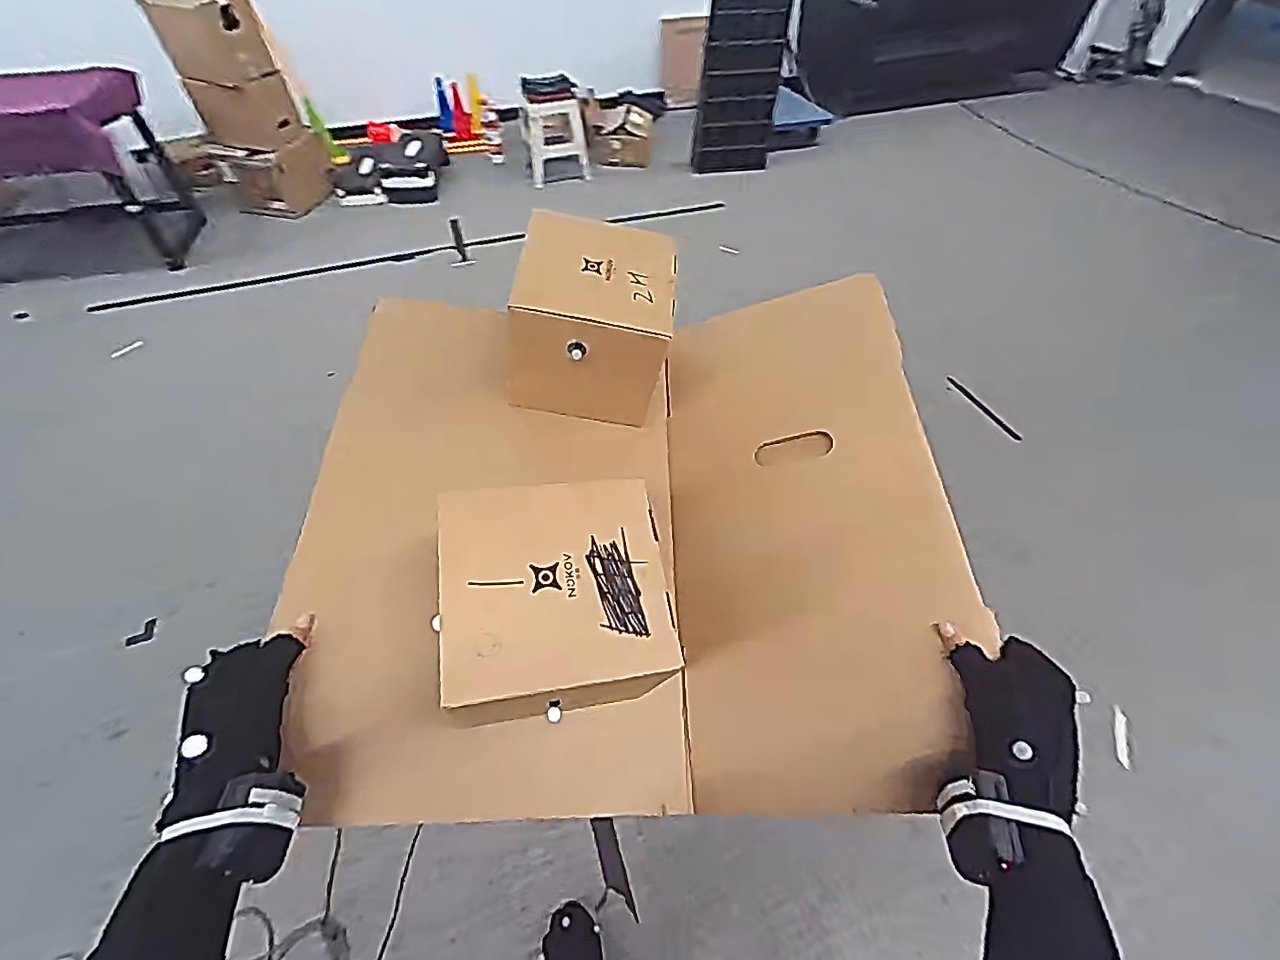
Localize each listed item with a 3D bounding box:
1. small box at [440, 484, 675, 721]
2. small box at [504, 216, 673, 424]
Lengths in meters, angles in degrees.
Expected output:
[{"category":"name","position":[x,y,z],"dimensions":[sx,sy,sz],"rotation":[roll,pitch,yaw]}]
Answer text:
[{"category":"small box","position":[-0.084,0.117,0.500],"dimensions":[0.179,0.176,0.168],"rotation":[-4,63,-15]},{"category":"small box","position":[-0.066,-0.189,0.674],"dimensions":[0.179,0.176,0.168],"rotation":[10,60,-8]}]
